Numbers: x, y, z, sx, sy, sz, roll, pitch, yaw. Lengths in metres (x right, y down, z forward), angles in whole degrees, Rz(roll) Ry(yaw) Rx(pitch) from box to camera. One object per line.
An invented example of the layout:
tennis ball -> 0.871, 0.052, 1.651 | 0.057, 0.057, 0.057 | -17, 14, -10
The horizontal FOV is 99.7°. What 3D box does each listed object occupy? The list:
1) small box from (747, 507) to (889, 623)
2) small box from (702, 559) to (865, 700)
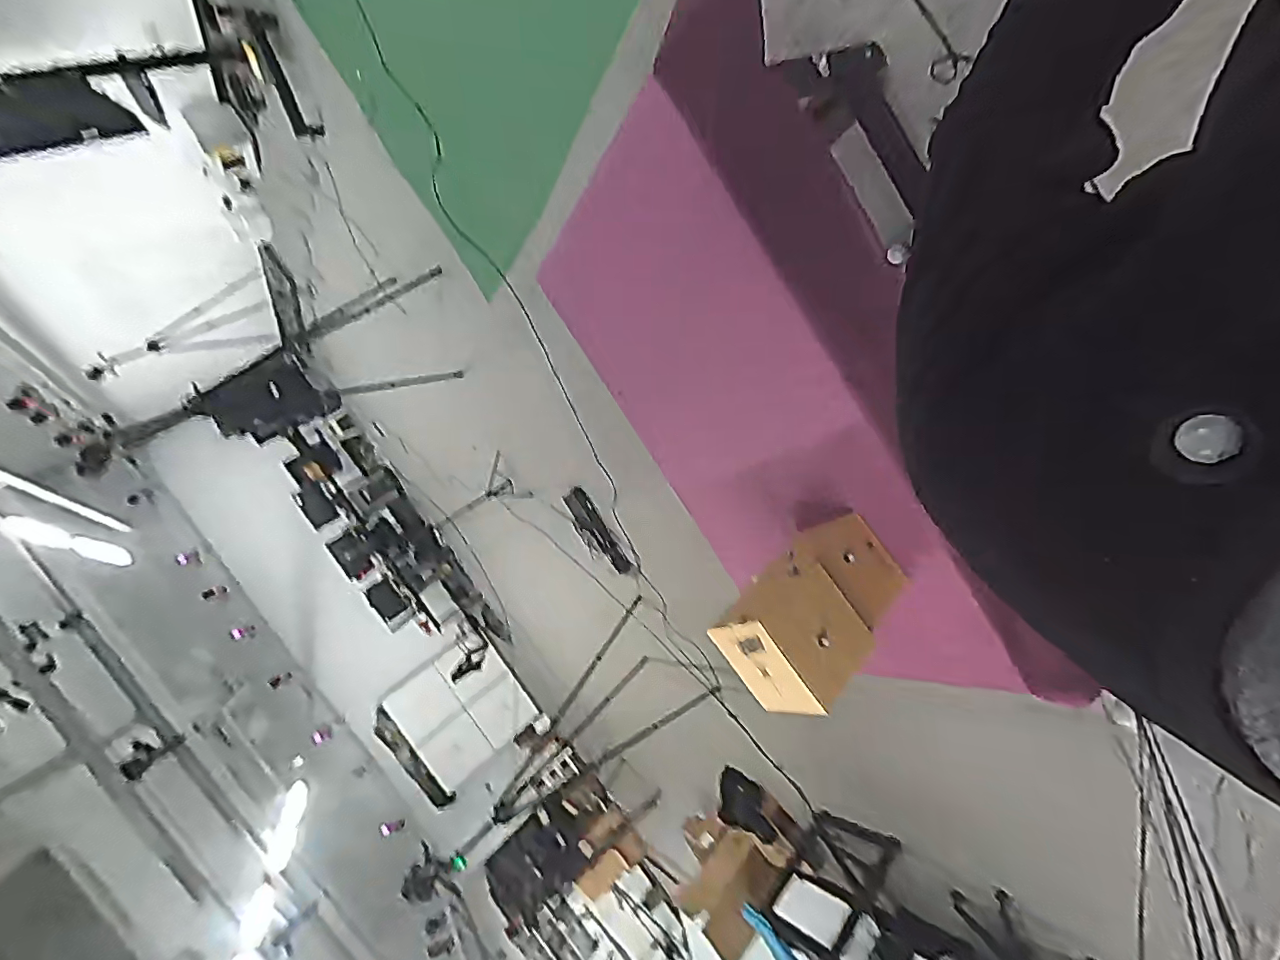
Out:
small box -> 0.350, 0.174, 1.047 | 0.168, 0.176, 0.179 | 54, 151, 1
small box -> 0.249, 0.254, 0.943 | 0.179, 0.176, 0.168 | 53, 150, 1
